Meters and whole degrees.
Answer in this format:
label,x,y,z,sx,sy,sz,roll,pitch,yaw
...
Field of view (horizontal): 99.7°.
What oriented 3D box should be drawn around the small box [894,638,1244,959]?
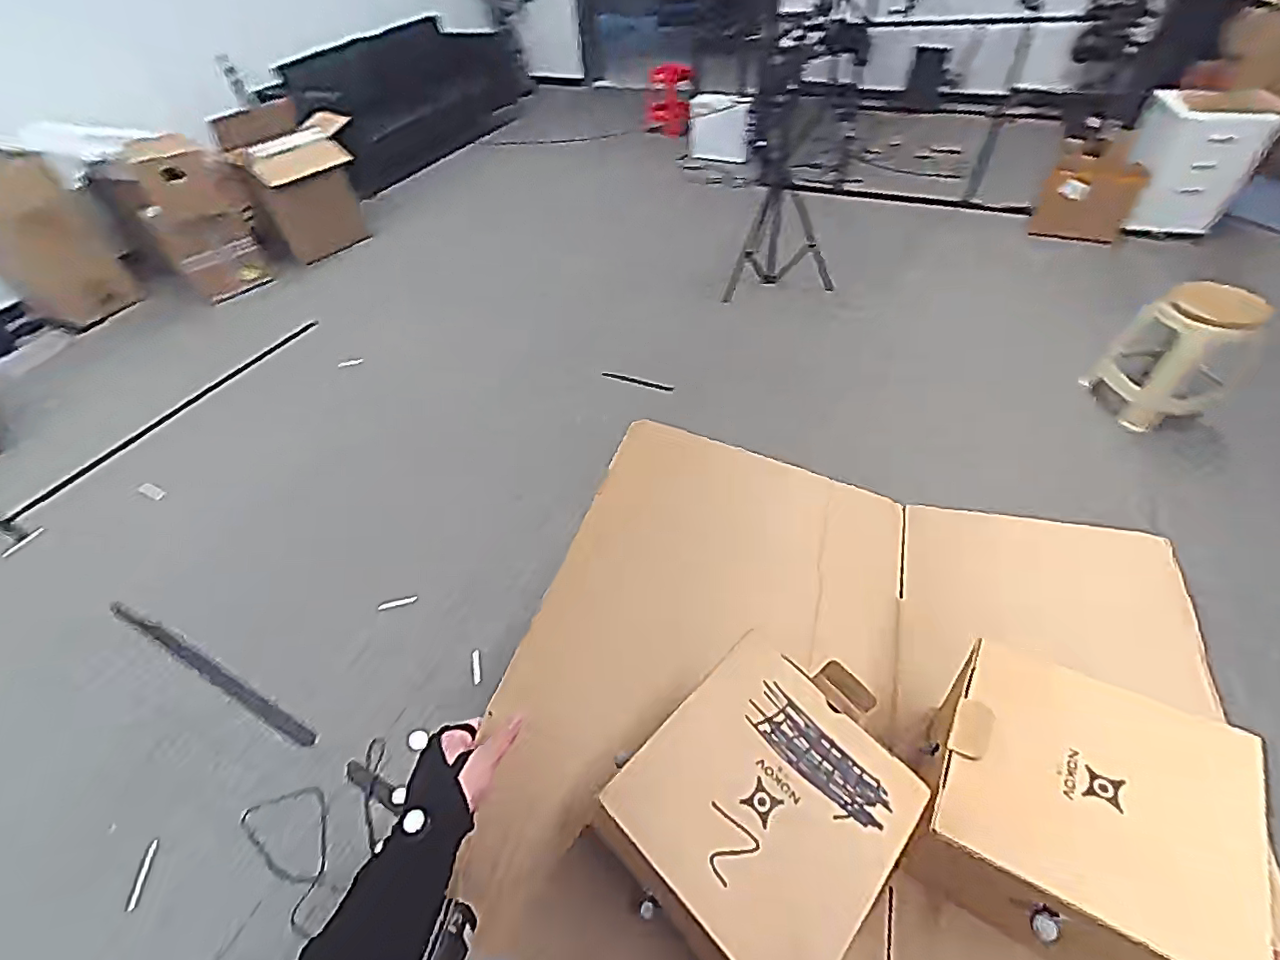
label,x,y,z,sx,sy,sz,roll,pitch,yaw
small box,0.331,0.268,0.448,0.179,0.176,0.168,17,54,29
